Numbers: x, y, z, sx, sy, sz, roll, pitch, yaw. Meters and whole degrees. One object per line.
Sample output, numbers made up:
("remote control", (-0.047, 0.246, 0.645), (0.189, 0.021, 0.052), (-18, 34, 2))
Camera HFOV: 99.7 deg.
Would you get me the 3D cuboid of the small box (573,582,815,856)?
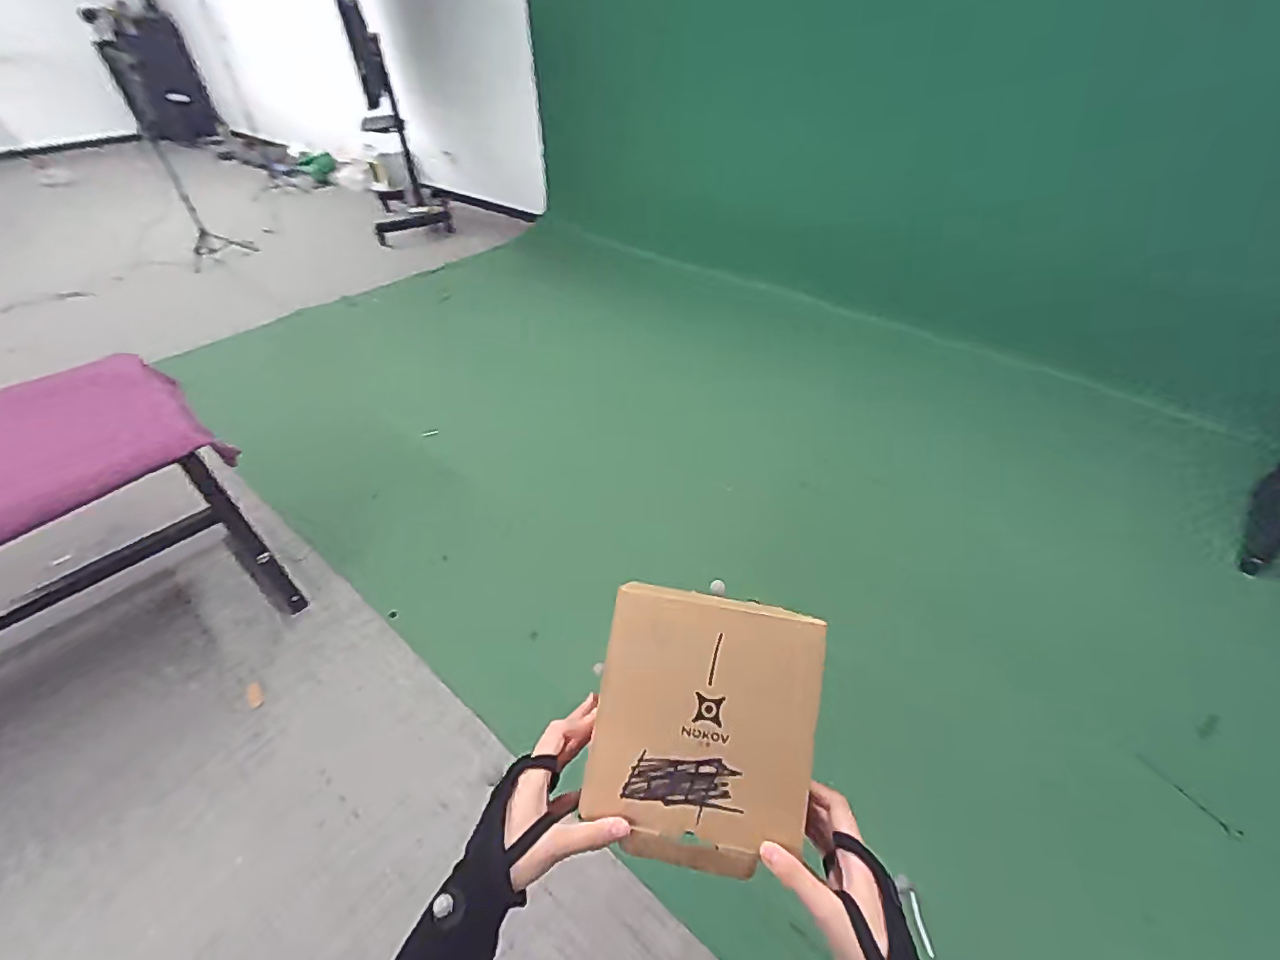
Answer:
("small box", (0.047, 0.194, 0.495), (0.168, 0.176, 0.179), (9, 80, 3))
